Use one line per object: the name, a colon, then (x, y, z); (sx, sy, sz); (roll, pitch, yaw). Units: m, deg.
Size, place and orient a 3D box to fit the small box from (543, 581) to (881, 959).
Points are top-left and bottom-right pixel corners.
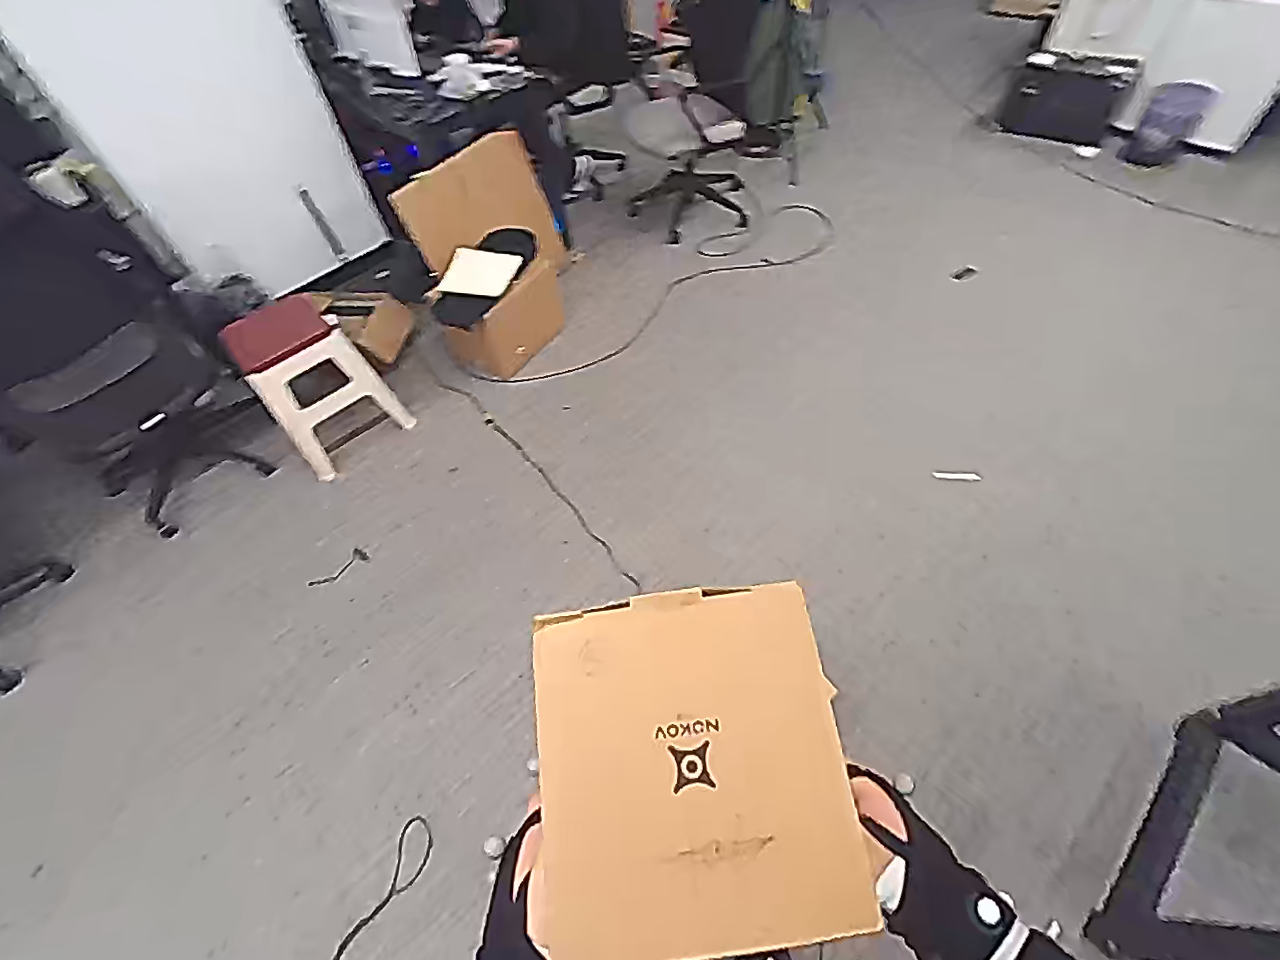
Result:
small box: (0.032, 0.180, 0.371); (0.168, 0.176, 0.179); (-7, 69, -1)
